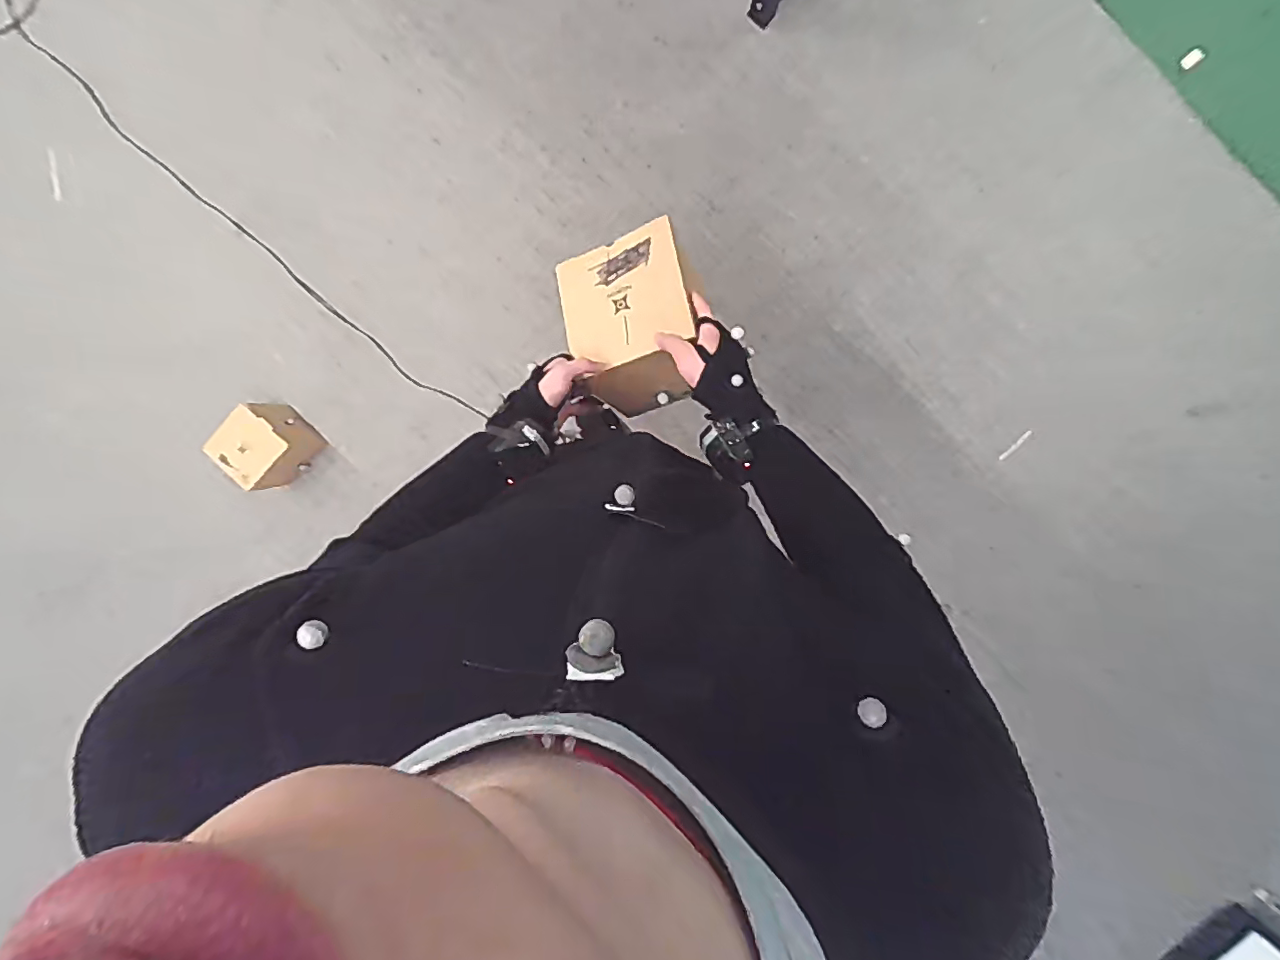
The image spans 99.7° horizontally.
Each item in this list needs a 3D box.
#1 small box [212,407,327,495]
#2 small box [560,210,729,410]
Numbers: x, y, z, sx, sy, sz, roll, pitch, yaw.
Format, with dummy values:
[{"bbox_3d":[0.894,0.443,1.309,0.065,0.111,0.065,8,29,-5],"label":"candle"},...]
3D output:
[{"bbox_3d":[-1.017,-0.083,1.508,0.168,0.176,0.179,45,95,-2],"label":"small box"},{"bbox_3d":[0.012,-0.219,0.745,0.168,0.176,0.179,-17,74,20],"label":"small box"}]
